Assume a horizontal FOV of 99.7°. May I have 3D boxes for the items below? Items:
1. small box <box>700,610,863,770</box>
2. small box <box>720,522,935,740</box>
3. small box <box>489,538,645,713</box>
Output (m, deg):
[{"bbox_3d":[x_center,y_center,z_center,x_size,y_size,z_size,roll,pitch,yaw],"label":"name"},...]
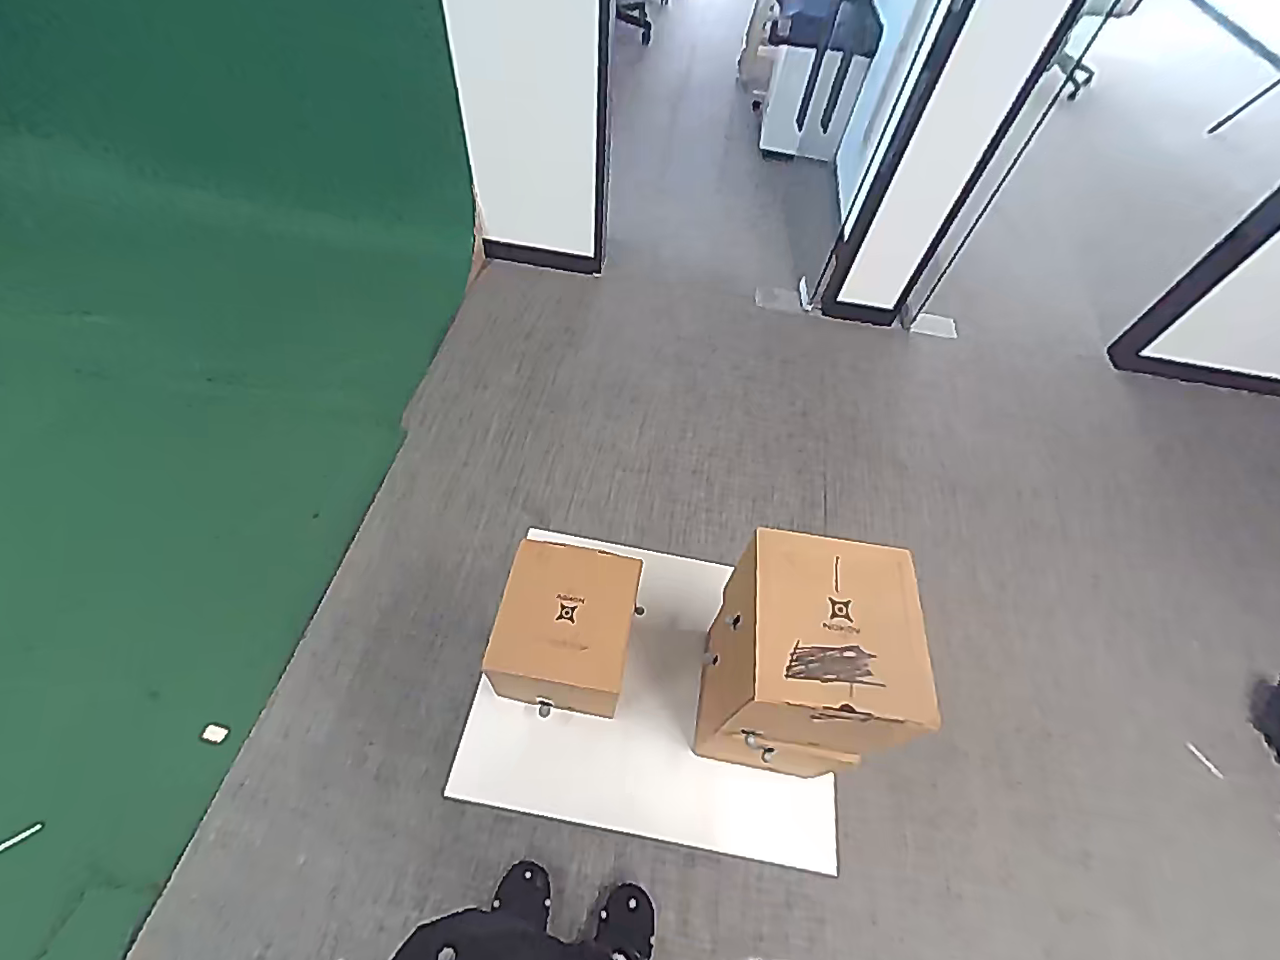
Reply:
[{"bbox_3d":[0.178,0.267,0.719,0.168,0.176,0.179,10,56,3],"label":"small box"},{"bbox_3d":[0.184,0.170,0.585,0.168,0.176,0.179,8,56,1],"label":"small box"},{"bbox_3d":[-0.091,0.203,0.740,0.168,0.176,0.179,8,58,1],"label":"small box"}]
